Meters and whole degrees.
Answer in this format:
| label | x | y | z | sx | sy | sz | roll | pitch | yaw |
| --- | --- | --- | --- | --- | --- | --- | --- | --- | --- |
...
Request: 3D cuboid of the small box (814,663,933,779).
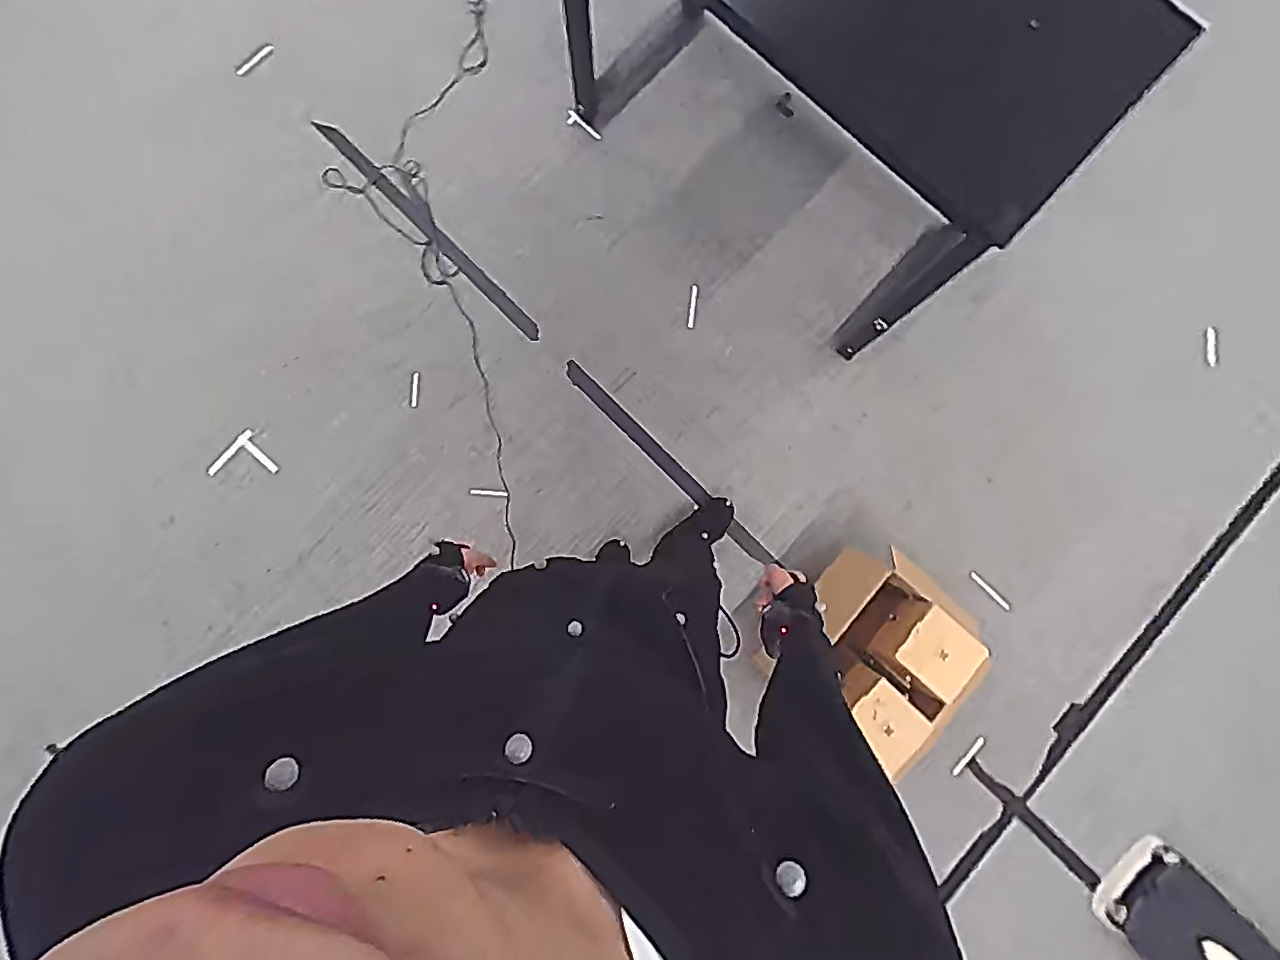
| label | x | y | z | sx | sy | sz | roll | pitch | yaw |
| --- | --- | --- | --- | --- | --- | --- | --- | --- | --- |
| small box | 0.571 | 0.585 | 1.343 | 0.168 | 0.176 | 0.179 | -44 | 88 | -5 |
